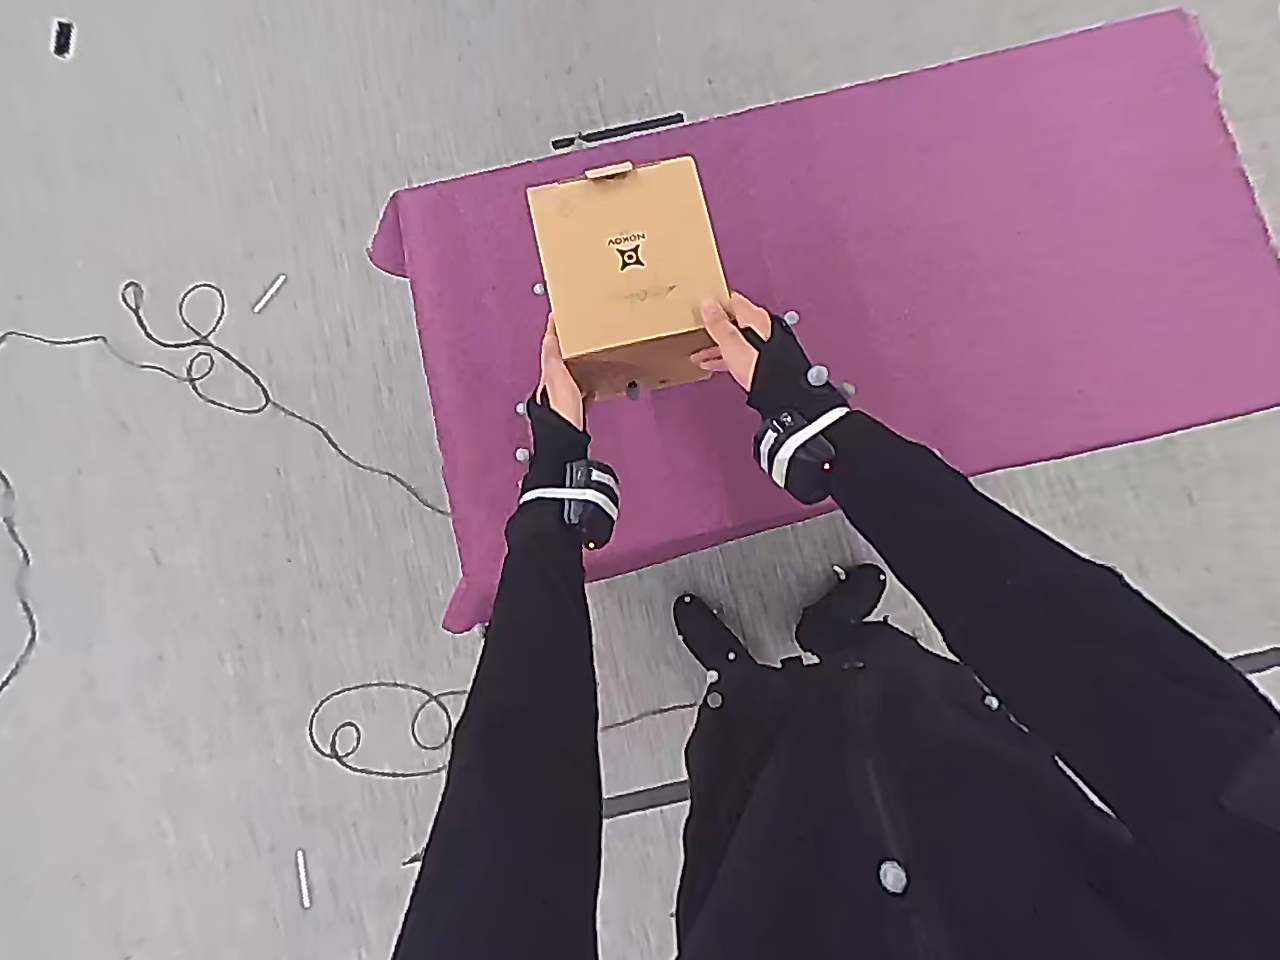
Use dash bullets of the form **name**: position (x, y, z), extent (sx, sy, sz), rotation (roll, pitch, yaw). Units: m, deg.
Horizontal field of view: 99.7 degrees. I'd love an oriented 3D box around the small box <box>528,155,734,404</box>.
- **small box**: position (-0.012, -0.199, 0.578), extent (0.168, 0.176, 0.179), rotation (-12, 82, -2)
